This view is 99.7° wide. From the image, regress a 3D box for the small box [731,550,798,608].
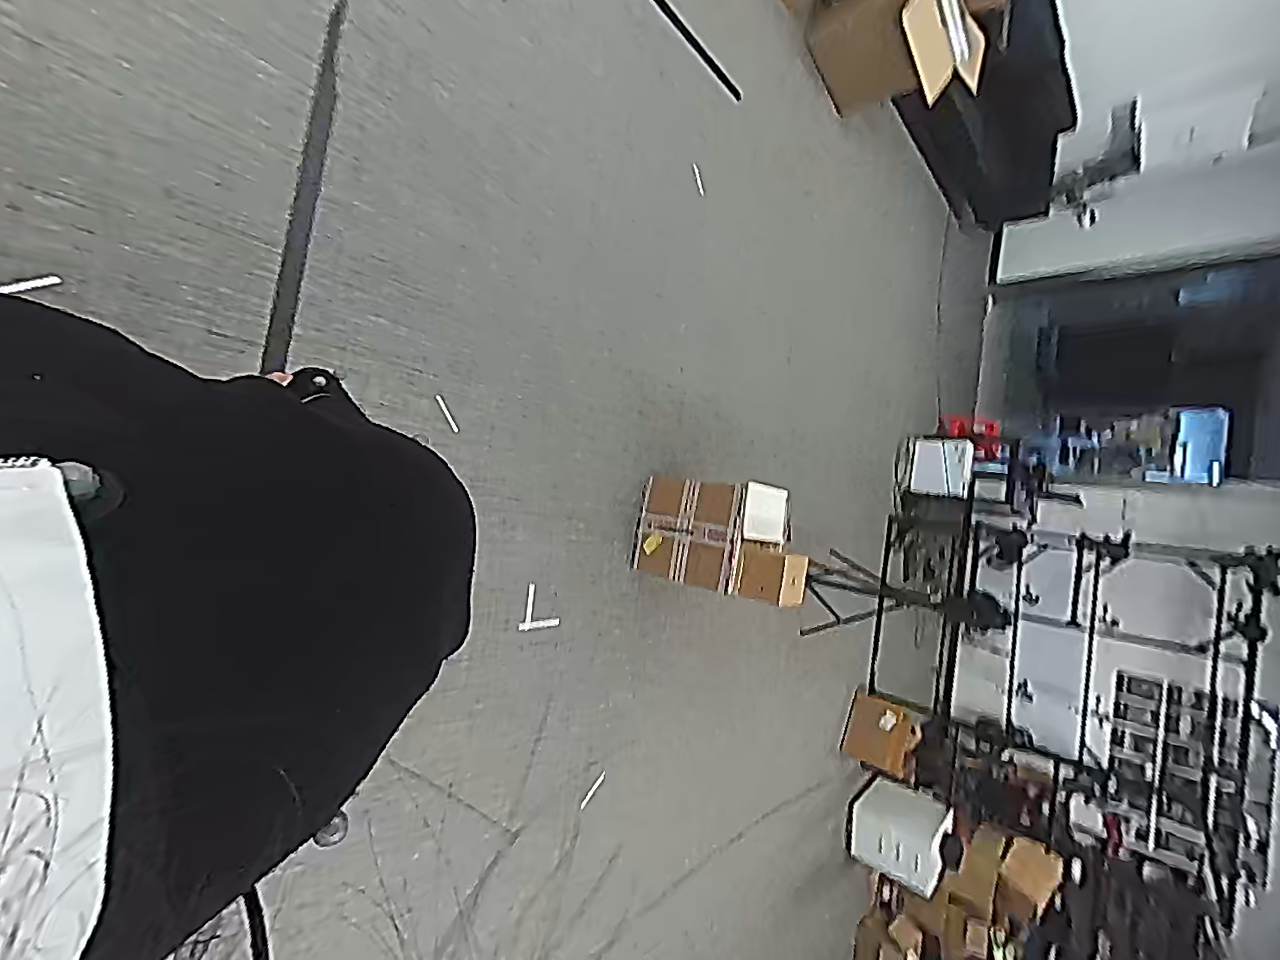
[{"bbox_3d":[0.450,0.356,1.962,0.168,0.176,0.179,8,89,-46],"label":"small box"}]
